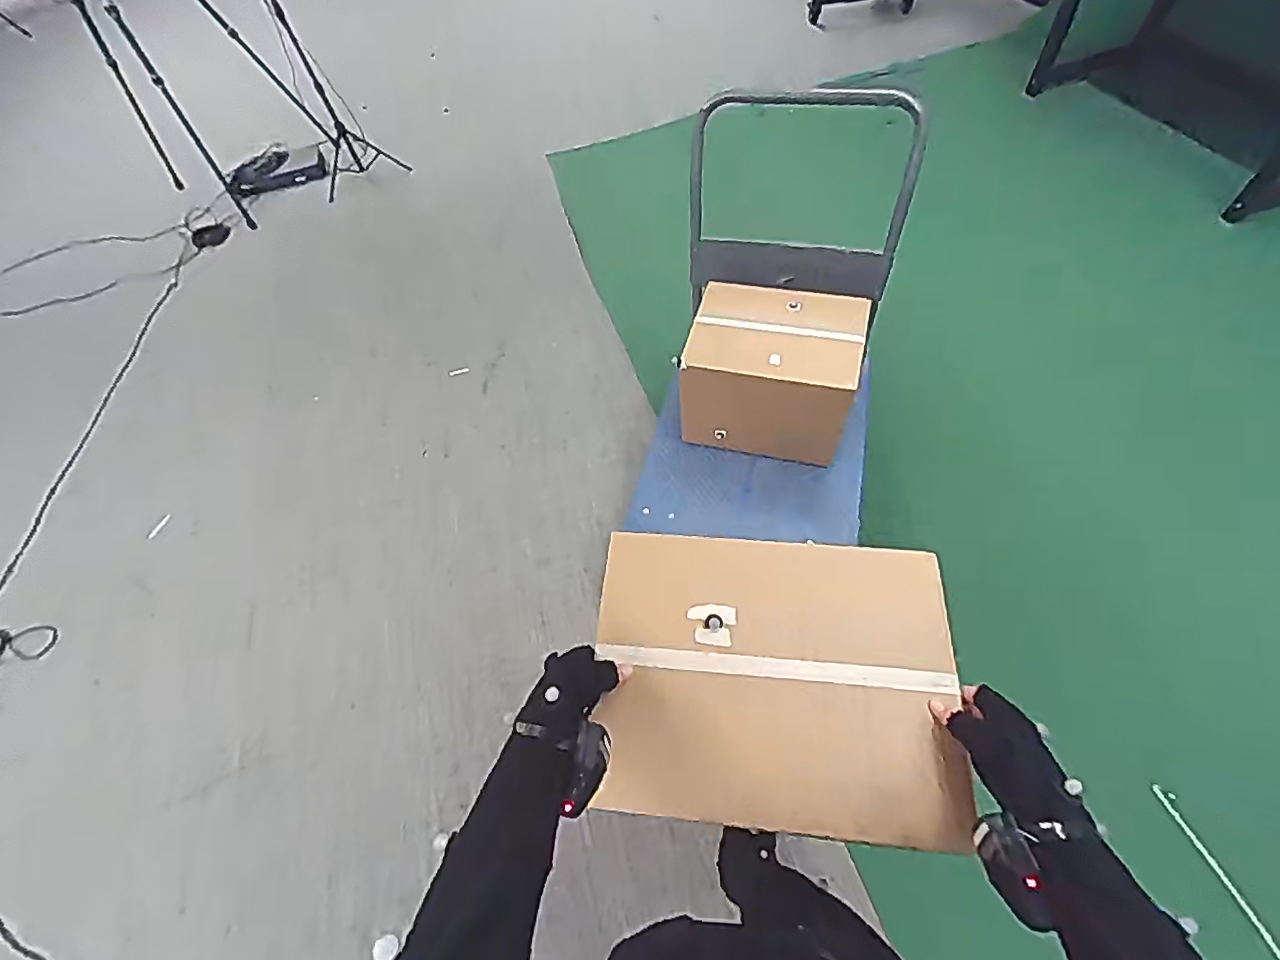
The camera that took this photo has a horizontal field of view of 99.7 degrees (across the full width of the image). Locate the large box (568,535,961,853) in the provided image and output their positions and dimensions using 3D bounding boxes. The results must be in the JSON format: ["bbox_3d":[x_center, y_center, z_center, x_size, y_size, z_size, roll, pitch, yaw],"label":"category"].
[{"bbox_3d":[0.149,0.283,0.748,0.408,0.320,0.320,3,63,8],"label":"large box"}]
